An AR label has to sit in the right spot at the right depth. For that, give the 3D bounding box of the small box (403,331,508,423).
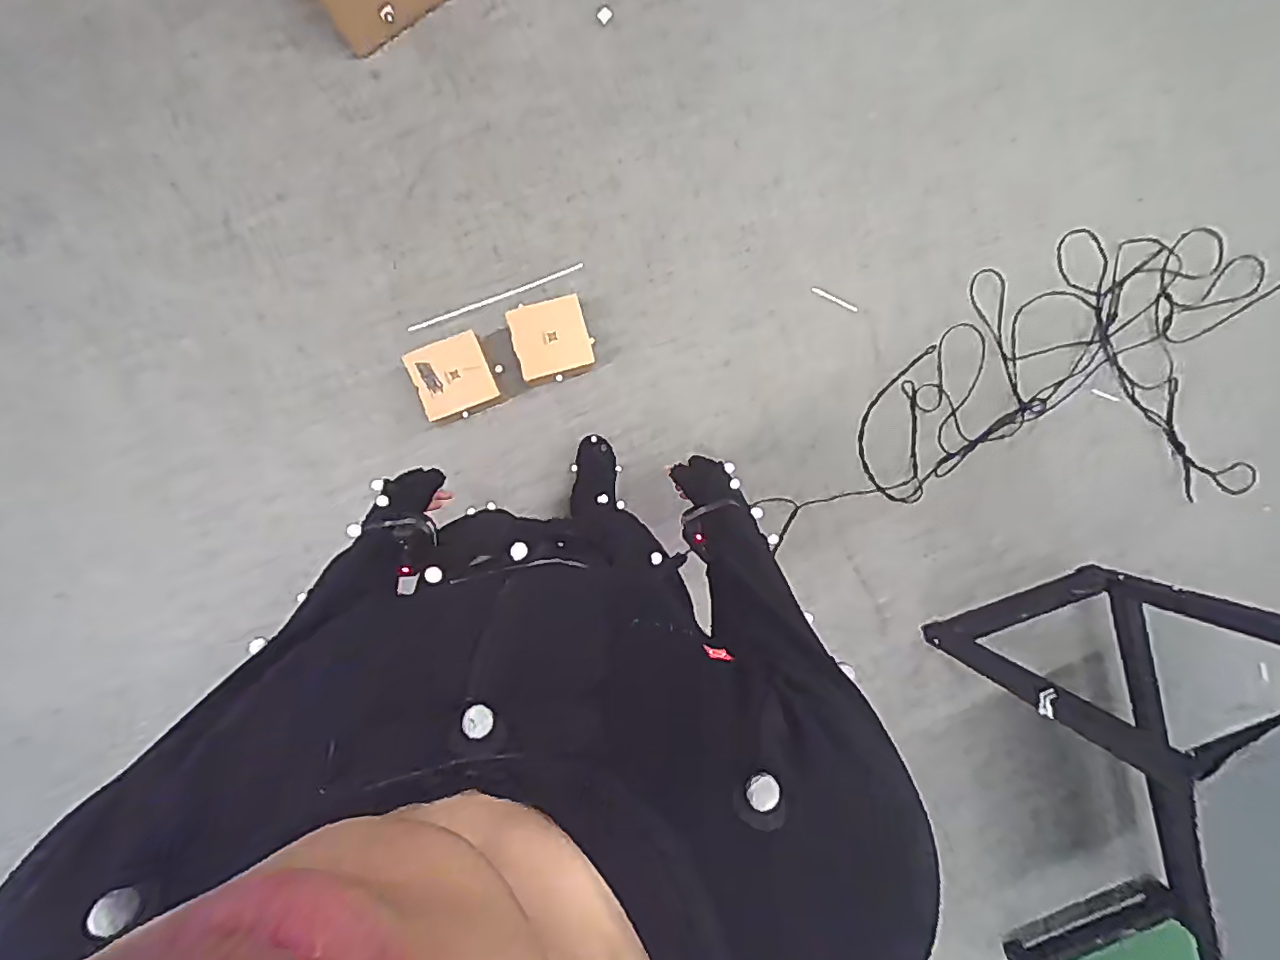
[{"bbox_3d":[-0.441,-0.244,1.324,0.179,0.176,0.168,-22,97,-4],"label":"small box"}]

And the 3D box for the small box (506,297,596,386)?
[{"bbox_3d":[-0.214,-0.337,1.338,0.179,0.176,0.168,-16,97,-3],"label":"small box"}]
